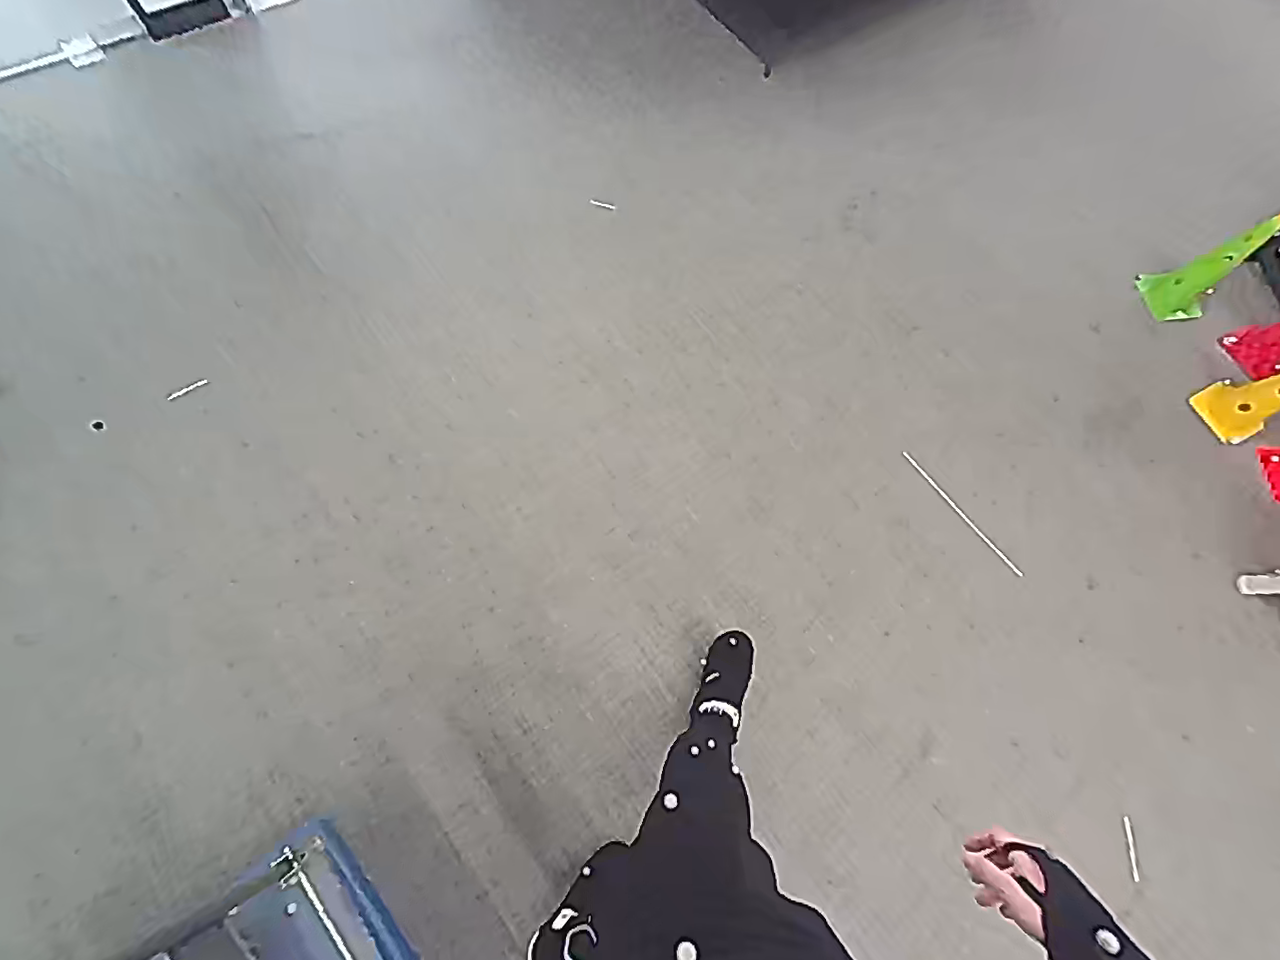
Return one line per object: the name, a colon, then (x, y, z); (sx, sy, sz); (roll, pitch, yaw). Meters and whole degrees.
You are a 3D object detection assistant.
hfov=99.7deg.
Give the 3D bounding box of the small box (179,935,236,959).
small box: (-0.781, 0.910, 0.878); (0.179, 0.176, 0.168); (-34, 77, -18)
